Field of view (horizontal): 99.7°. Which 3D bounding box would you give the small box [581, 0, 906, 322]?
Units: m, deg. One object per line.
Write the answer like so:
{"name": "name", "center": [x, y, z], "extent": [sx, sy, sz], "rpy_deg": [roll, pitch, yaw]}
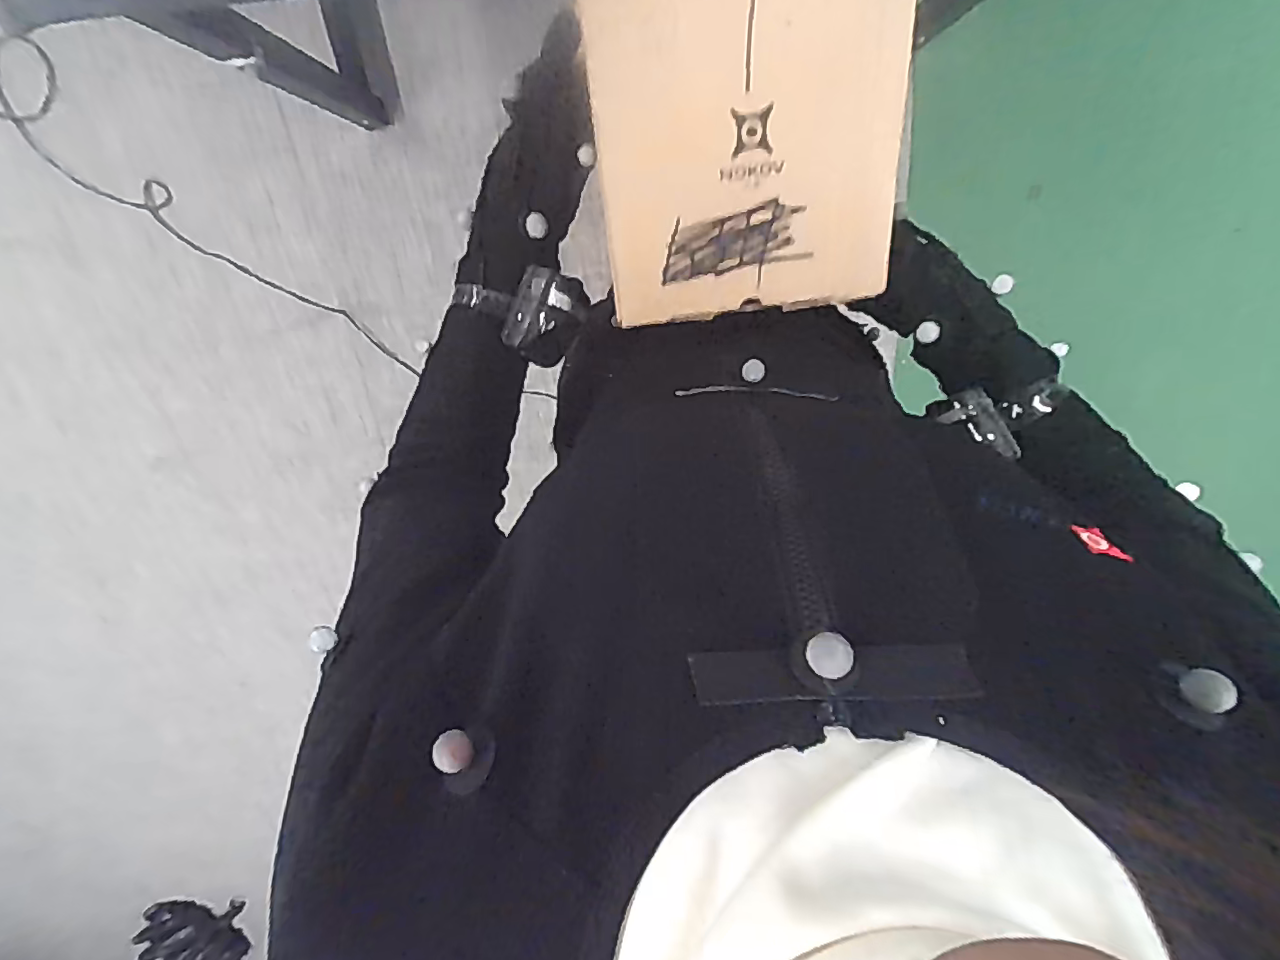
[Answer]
{"name": "small box", "center": [0.056, -0.223, 0.375], "extent": [0.168, 0.176, 0.179], "rpy_deg": [-5, 120, 1]}
